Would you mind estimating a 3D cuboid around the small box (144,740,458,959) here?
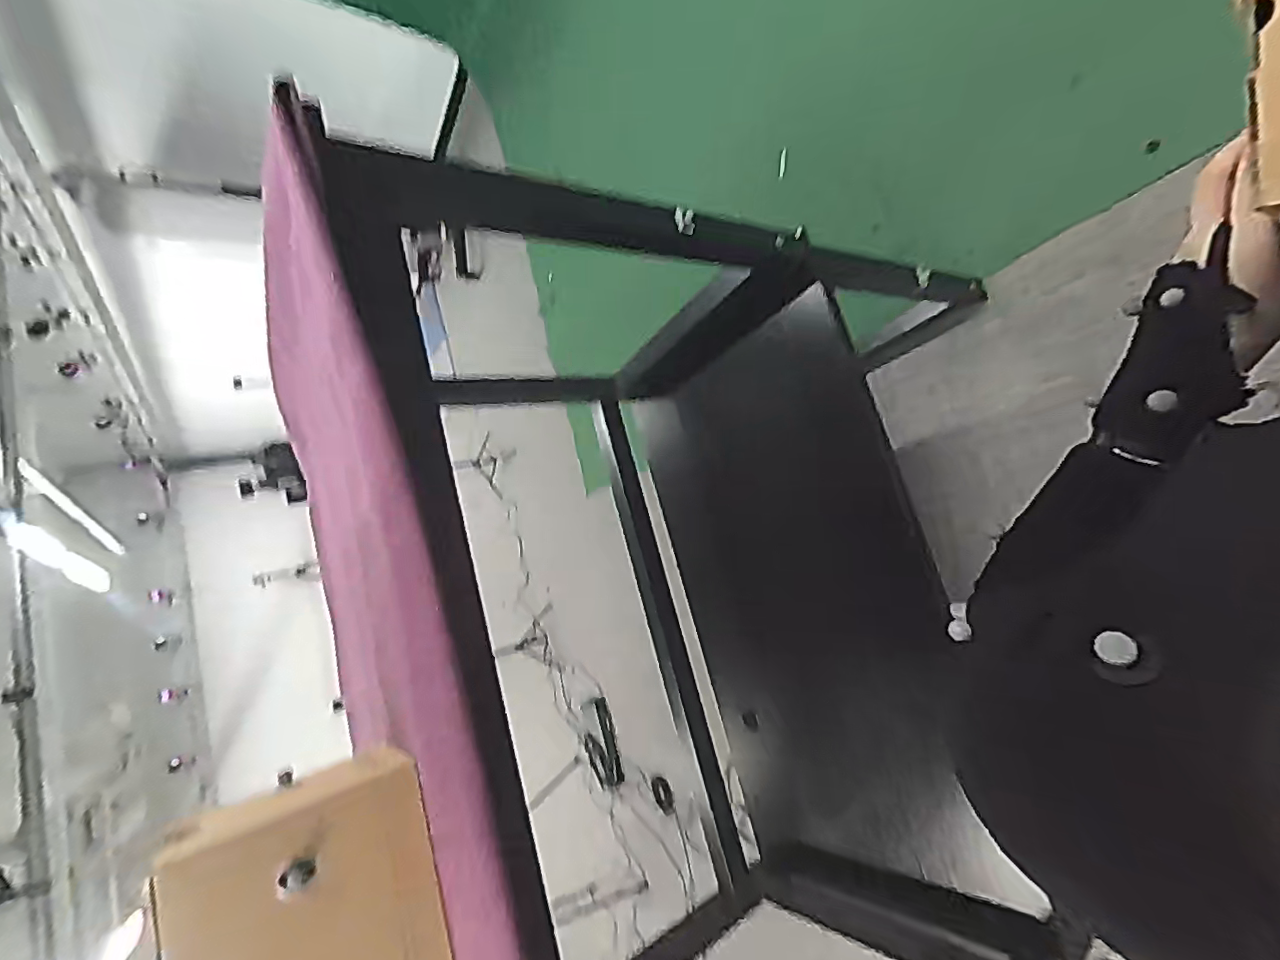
[{"bbox_3d":[-0.264,0.330,0.434,0.168,0.176,0.179,-31,73,52],"label":"small box"}]
